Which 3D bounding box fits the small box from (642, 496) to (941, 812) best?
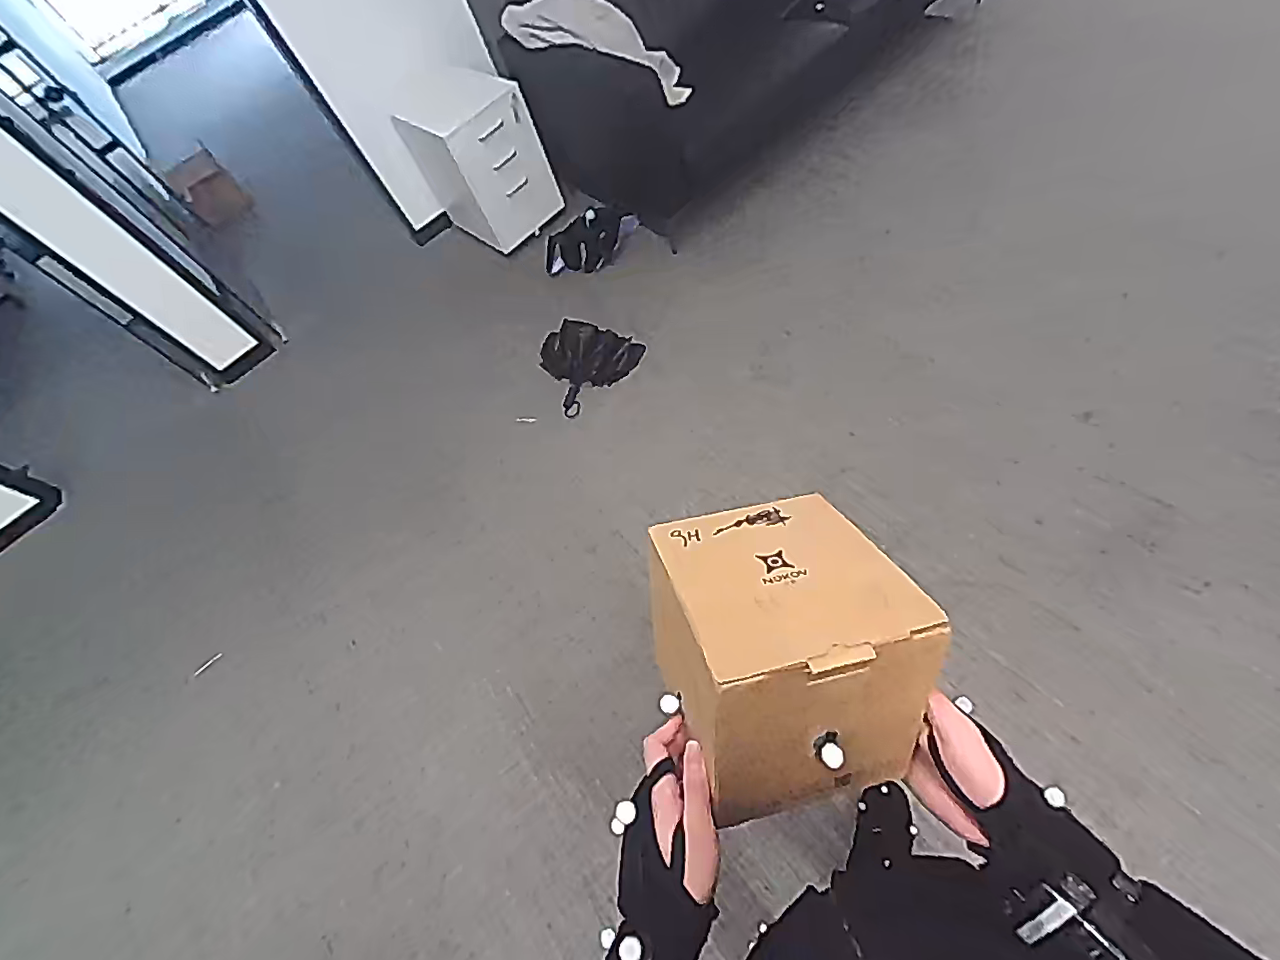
[{"bbox_3d":[0.104,0.140,0.446,0.168,0.176,0.179,-9,32,-9],"label":"small box"}]
